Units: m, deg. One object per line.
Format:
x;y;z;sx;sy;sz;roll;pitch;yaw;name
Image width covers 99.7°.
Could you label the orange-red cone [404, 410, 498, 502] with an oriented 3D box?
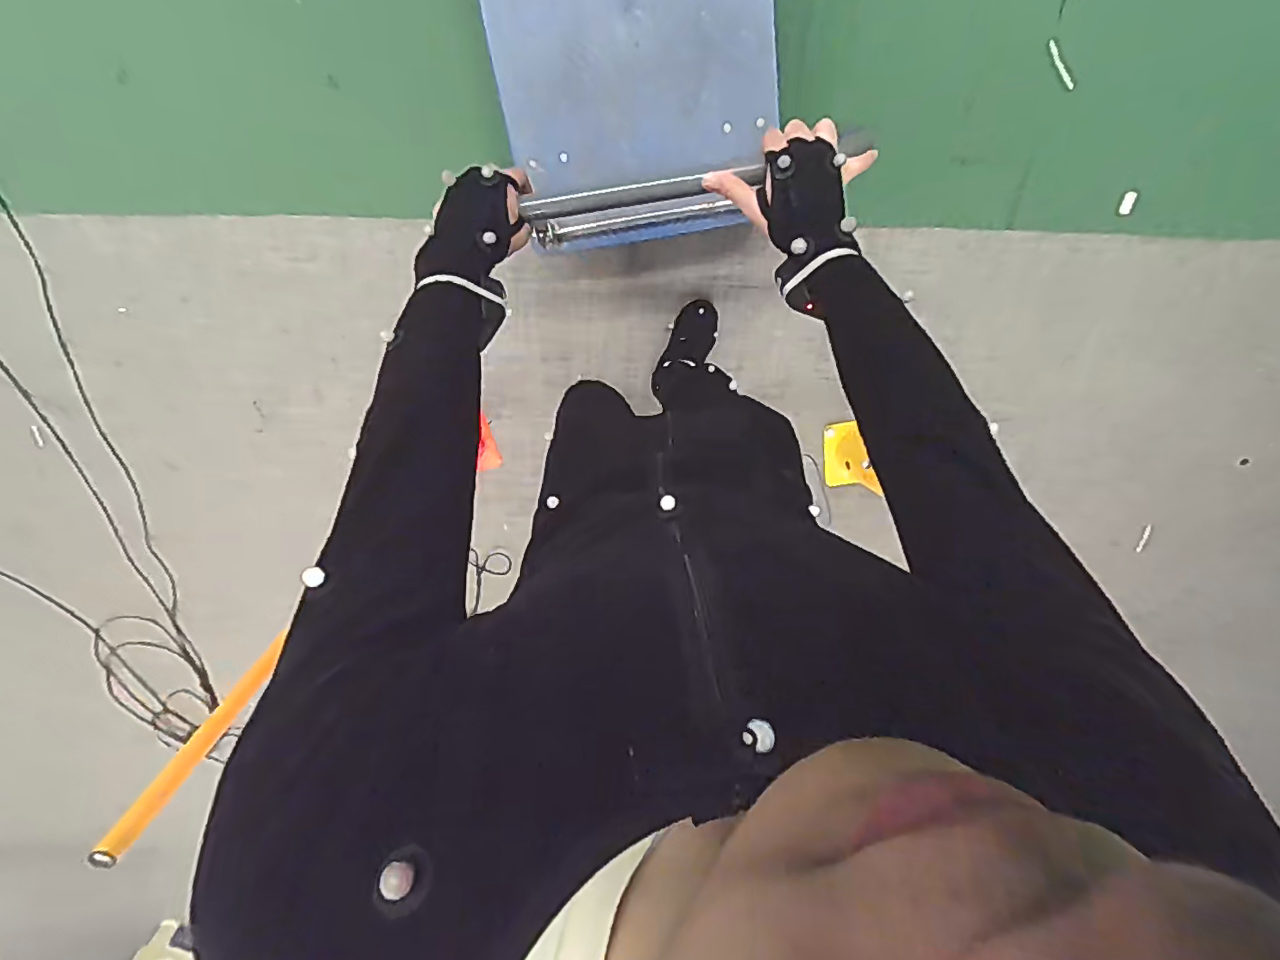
-0.542;-0.033;1.446;0.199;0.360;0.198;-11;113;7;orange-red cone
